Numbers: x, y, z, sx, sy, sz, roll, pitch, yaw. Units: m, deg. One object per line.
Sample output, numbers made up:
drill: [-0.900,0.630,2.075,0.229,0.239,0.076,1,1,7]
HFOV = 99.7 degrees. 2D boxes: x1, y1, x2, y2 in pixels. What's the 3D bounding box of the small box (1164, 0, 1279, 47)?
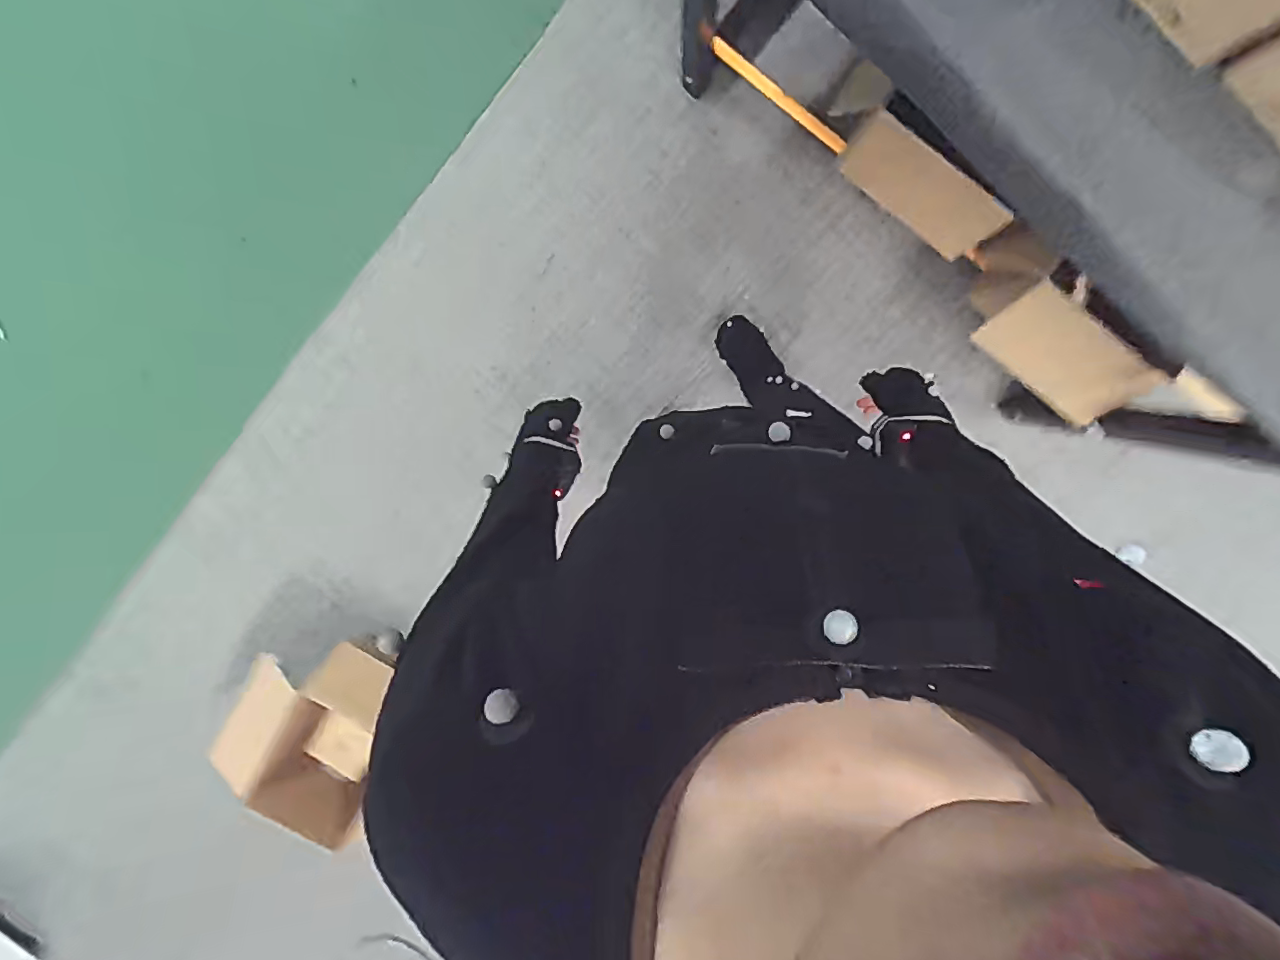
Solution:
small box: [0.607,-0.559,0.489,0.168,0.176,0.179,40,102,-6]
